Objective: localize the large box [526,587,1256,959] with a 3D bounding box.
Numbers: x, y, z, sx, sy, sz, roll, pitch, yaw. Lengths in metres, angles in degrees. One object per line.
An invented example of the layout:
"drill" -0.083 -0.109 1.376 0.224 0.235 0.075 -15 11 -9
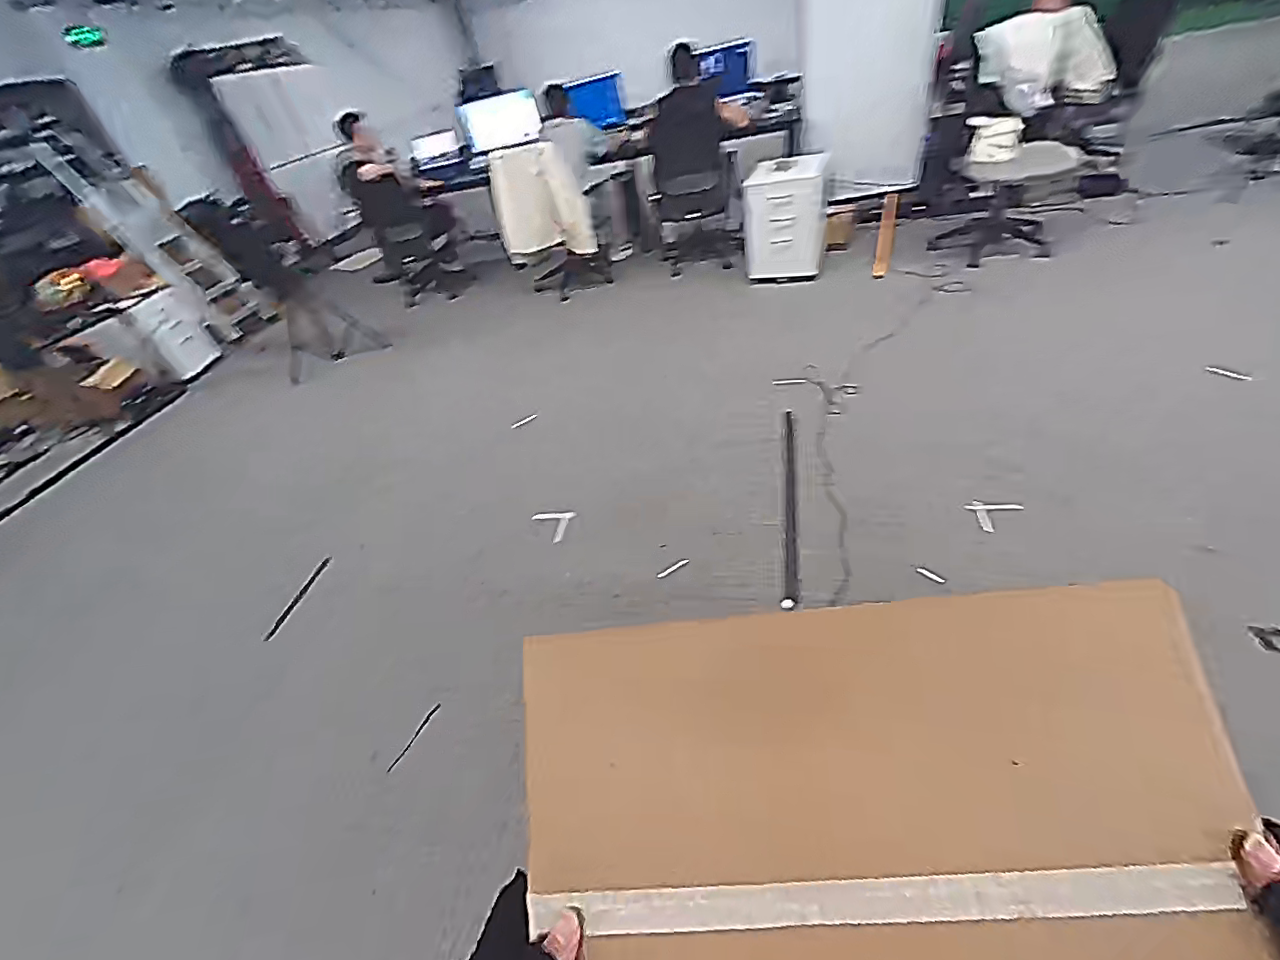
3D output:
"large box" 0.151 0.281 0.461 0.408 0.320 0.320 -8 73 5
